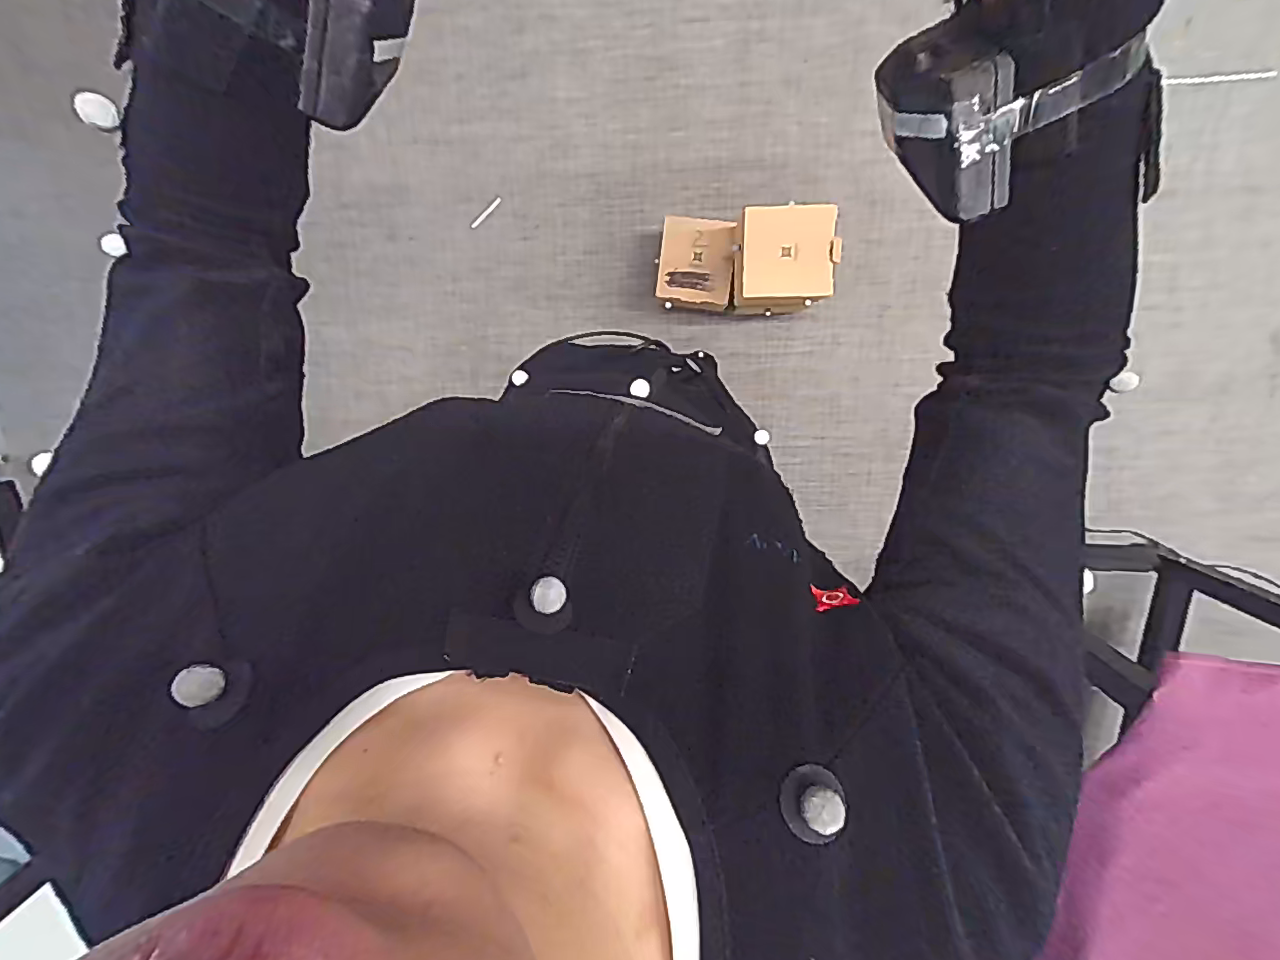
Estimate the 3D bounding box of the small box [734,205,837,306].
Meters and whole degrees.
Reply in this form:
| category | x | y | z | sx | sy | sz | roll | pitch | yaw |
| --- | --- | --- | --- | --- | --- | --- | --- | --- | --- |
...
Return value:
| category | x | y | z | sx | sy | sz | roll | pitch | yaw |
| --- | --- | --- | --- | --- | --- | --- | --- | --- | --- |
| small box | 0.289 | -0.452 | 1.111 | 0.179 | 0.176 | 0.168 | -1 | 103 | 3 |
